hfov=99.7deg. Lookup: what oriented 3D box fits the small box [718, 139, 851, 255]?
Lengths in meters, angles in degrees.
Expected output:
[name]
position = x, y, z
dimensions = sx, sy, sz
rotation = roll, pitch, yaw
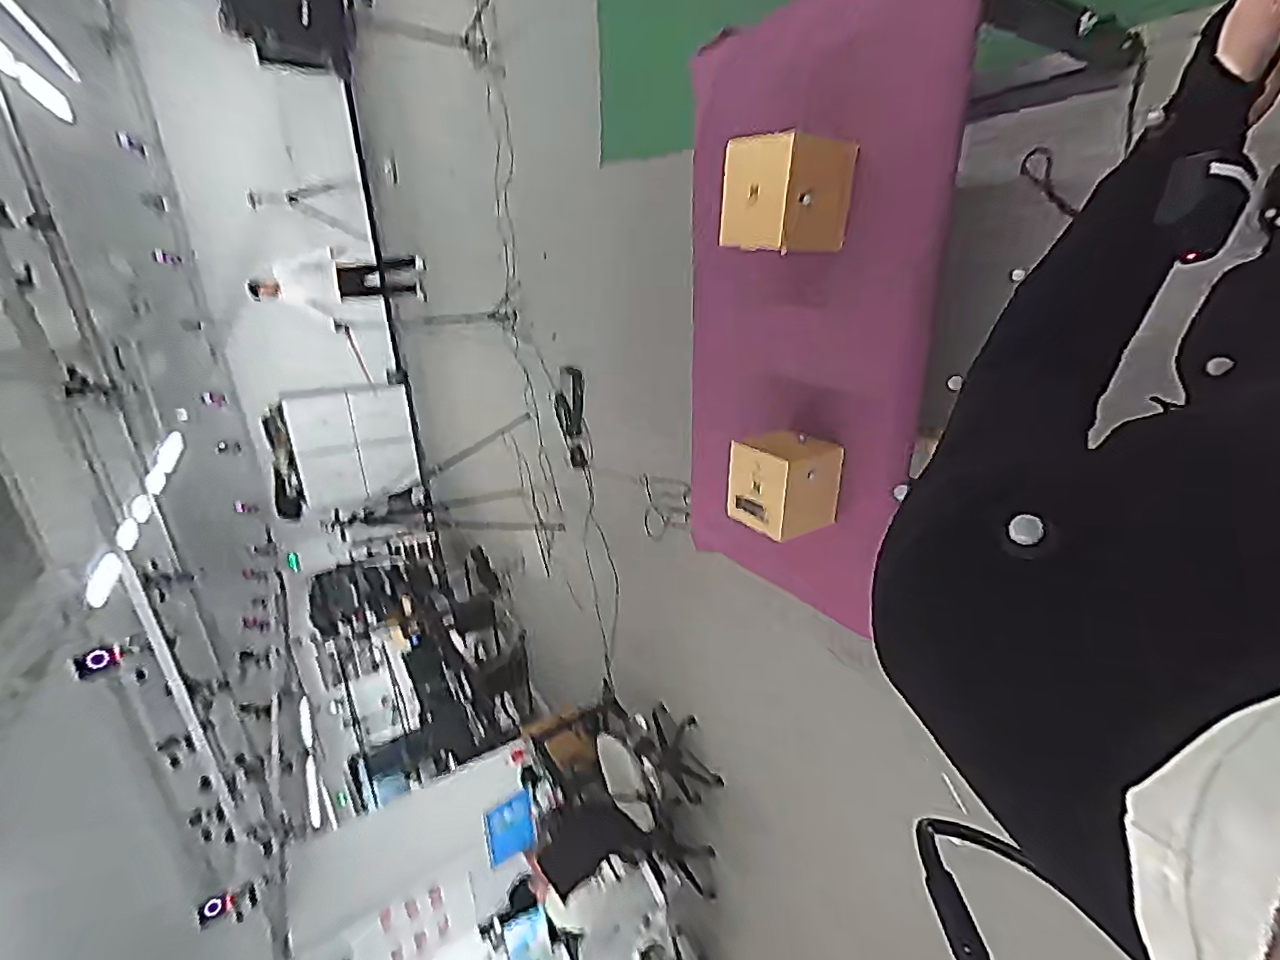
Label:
[small box]
position = 0.268, -0.519, 1.010
dimensions = 0.168, 0.176, 0.179
rotation = 32, 130, 48
